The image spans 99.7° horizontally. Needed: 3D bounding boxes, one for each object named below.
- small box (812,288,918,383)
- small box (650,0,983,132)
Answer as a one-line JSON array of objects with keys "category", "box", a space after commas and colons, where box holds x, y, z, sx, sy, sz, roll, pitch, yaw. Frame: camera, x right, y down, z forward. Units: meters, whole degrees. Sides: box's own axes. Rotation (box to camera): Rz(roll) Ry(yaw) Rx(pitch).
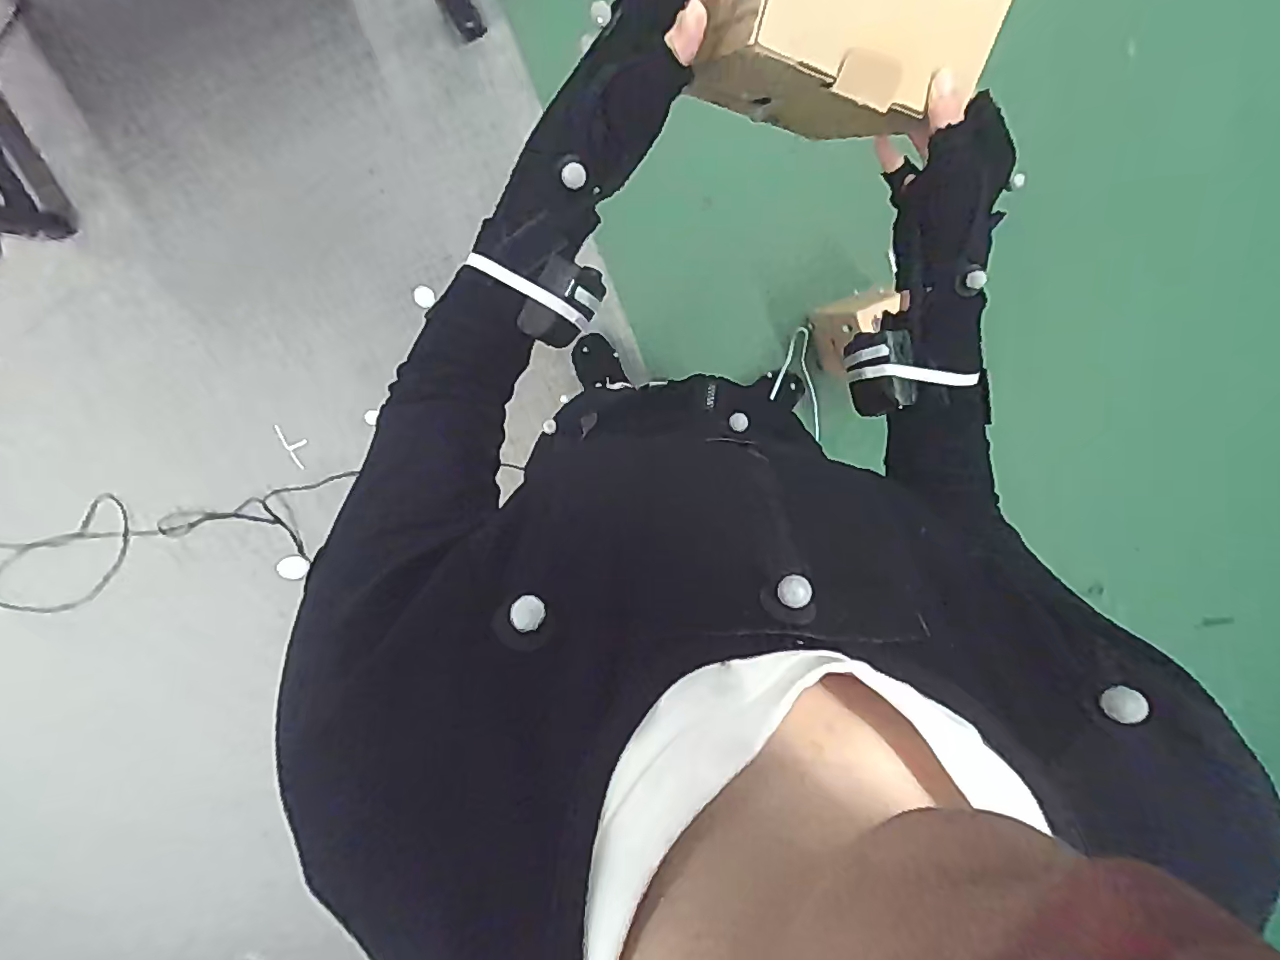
[{"category": "small box", "box": [0.529, -0.345, 1.298, 0.179, 0.176, 0.168, -20, 106, 6]}, {"category": "small box", "box": [0.121, -0.363, 0.371, 0.168, 0.176, 0.179, 3, 118, -23]}]
